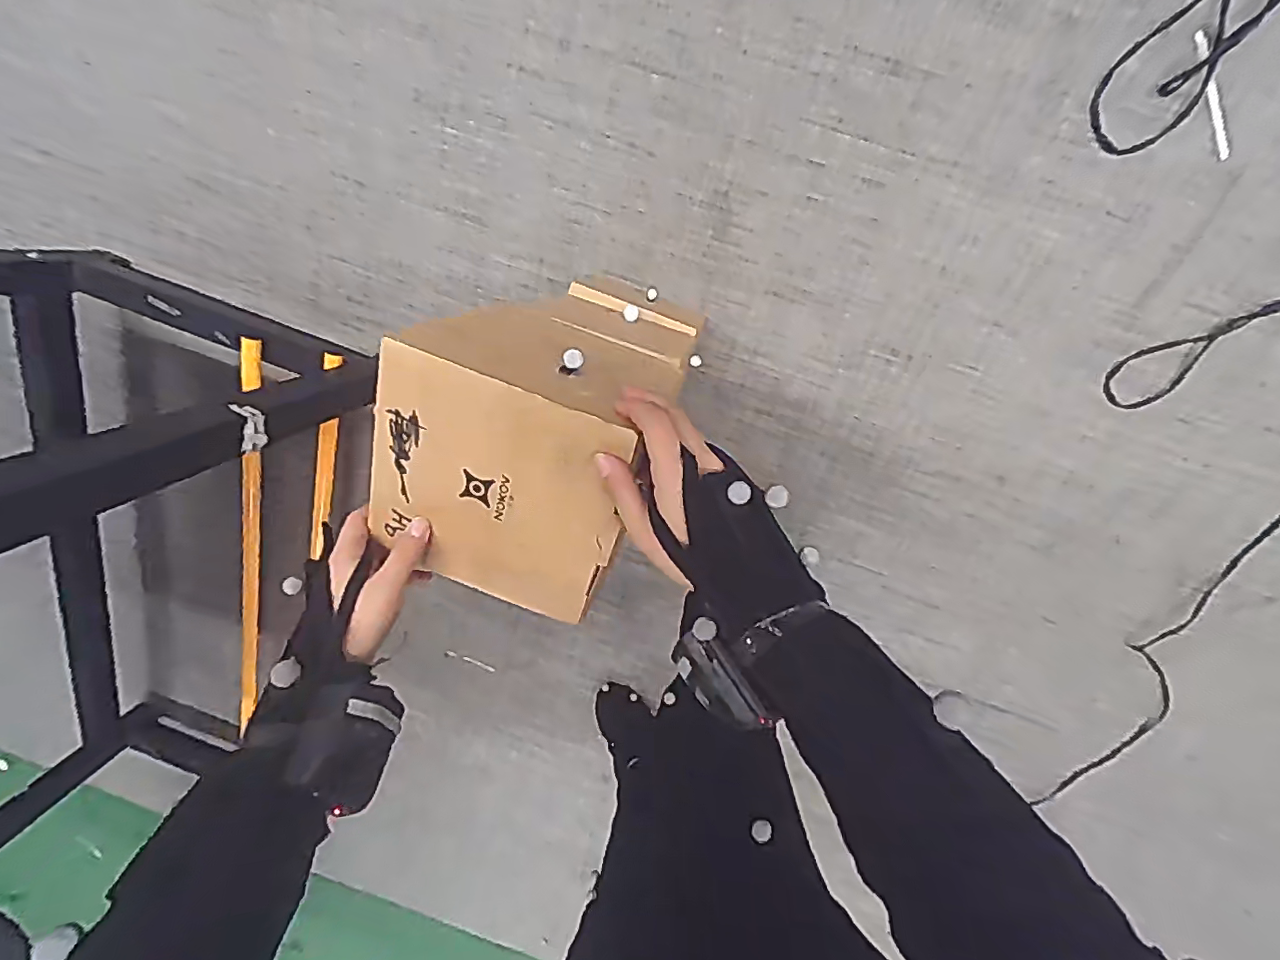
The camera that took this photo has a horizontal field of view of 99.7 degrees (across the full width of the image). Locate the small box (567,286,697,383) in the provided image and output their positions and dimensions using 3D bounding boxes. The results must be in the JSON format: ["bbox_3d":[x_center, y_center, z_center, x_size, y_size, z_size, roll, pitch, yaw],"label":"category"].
[{"bbox_3d":[-0.025,-0.162,0.764,0.168,0.176,0.179,22,113,2],"label":"small box"}]

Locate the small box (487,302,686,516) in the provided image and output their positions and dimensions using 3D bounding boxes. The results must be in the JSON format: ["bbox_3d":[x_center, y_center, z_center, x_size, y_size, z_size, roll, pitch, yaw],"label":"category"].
[{"bbox_3d":[-0.051,-0.091,0.618,0.168,0.176,0.179,19,113,2],"label":"small box"}]
